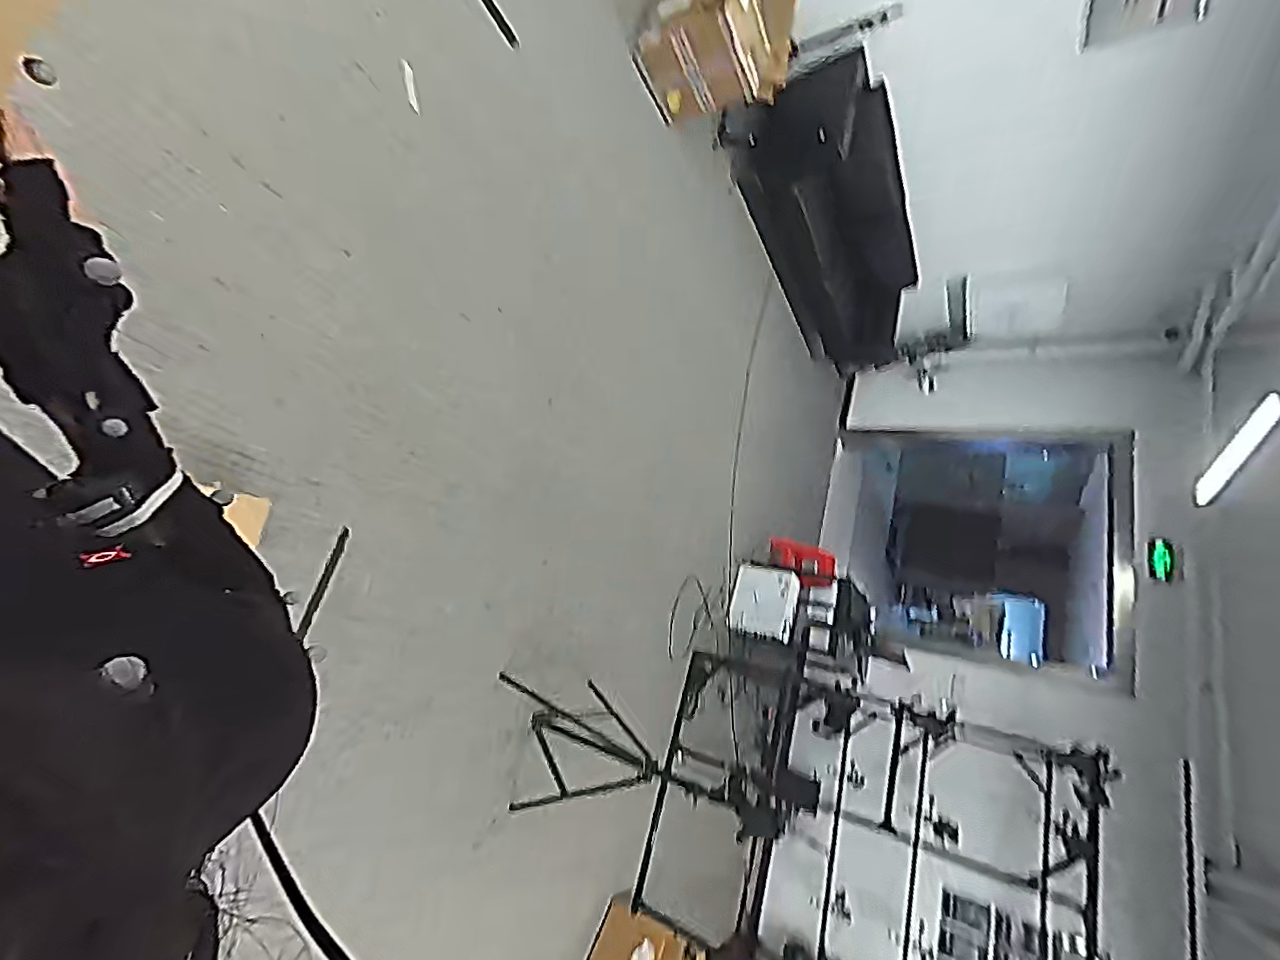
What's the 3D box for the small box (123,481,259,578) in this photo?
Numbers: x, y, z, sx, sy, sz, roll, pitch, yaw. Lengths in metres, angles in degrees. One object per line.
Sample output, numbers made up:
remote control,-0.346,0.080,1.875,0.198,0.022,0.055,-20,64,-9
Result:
small box,-1.000,0.109,1.201,0.168,0.176,0.179,29,68,-55
